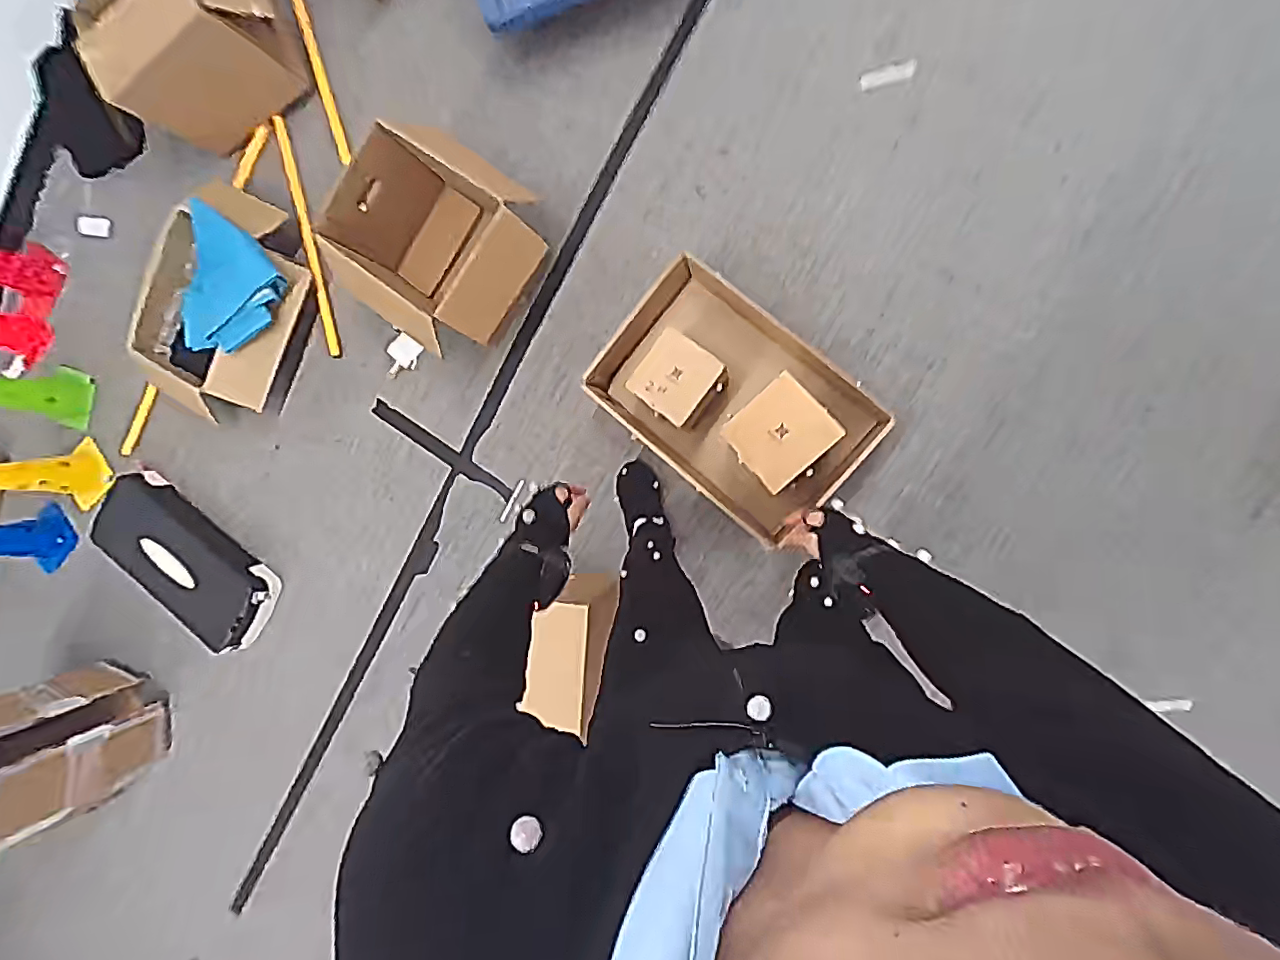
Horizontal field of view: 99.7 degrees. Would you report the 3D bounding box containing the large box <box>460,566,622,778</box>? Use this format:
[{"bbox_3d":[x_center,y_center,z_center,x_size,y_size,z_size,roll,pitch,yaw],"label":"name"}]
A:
[{"bbox_3d":[-0.234,0.454,1.372,0.320,0.320,0.408,4,94,14],"label":"large box"}]
